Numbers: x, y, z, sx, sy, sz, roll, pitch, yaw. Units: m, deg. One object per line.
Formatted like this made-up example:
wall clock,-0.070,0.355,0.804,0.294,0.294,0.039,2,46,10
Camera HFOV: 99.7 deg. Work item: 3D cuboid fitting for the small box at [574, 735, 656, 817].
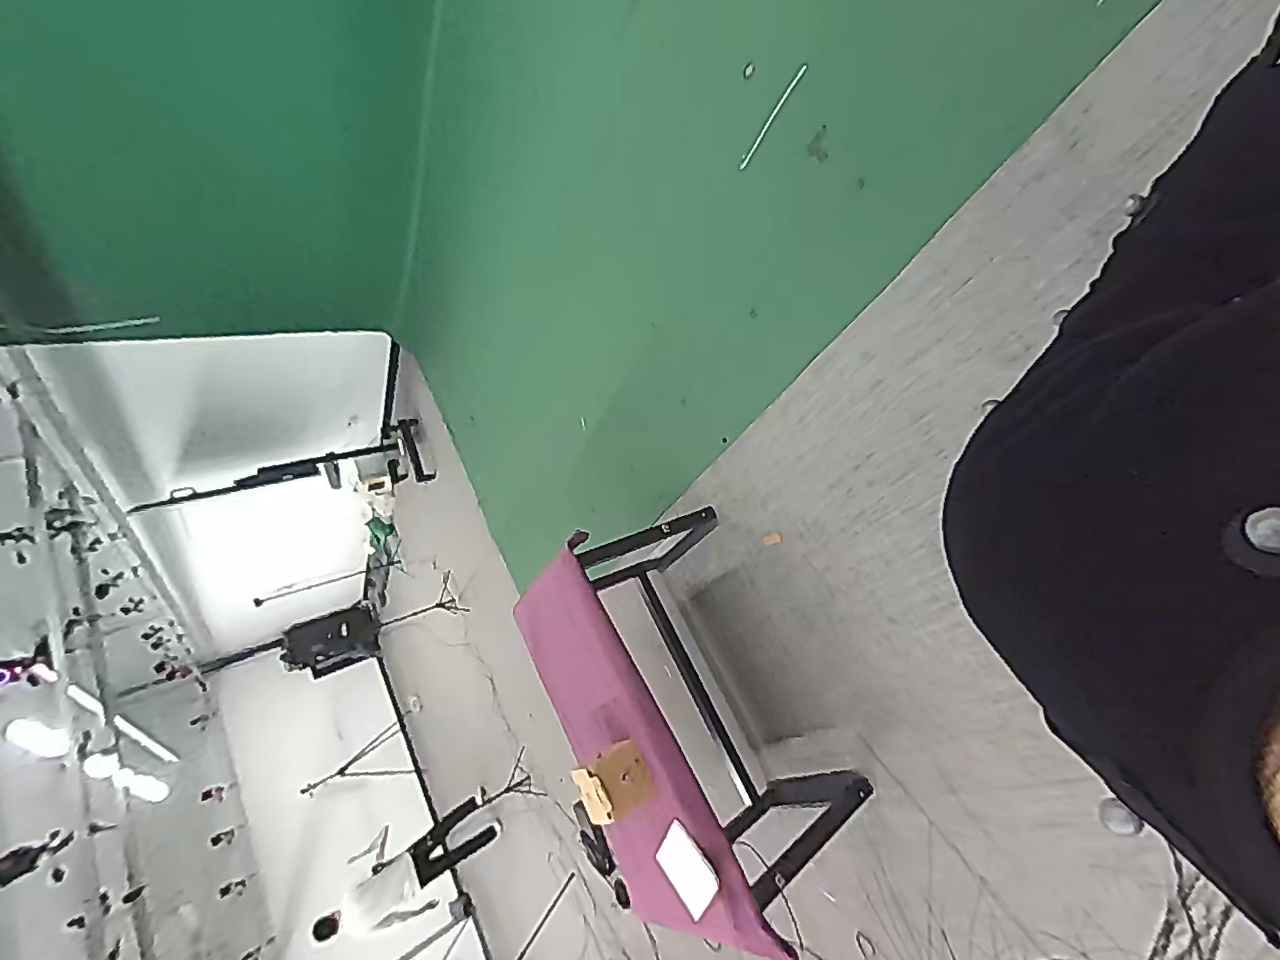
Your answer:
small box,-0.074,0.918,1.681,0.179,0.176,0.168,-48,64,48
